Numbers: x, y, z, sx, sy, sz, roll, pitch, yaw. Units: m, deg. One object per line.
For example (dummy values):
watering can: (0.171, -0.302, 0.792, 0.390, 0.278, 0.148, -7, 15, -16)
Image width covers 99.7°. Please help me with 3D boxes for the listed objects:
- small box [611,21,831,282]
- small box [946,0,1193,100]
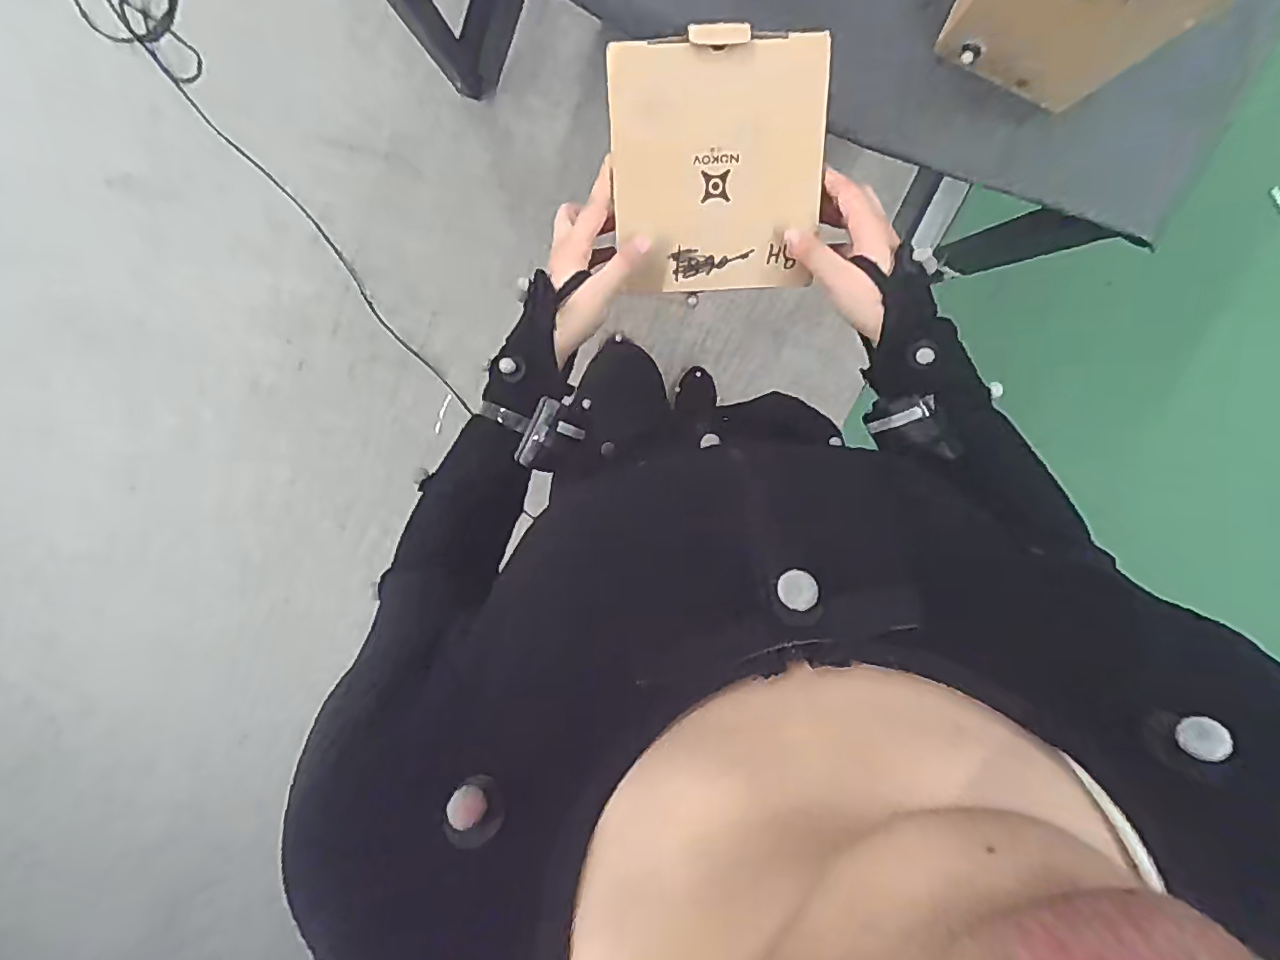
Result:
small box: (0.061, -0.279, 0.496, 0.168, 0.176, 0.179, -2, 113, 2)
small box: (0.433, -0.515, 0.515, 0.168, 0.176, 0.179, 23, 100, -3)
